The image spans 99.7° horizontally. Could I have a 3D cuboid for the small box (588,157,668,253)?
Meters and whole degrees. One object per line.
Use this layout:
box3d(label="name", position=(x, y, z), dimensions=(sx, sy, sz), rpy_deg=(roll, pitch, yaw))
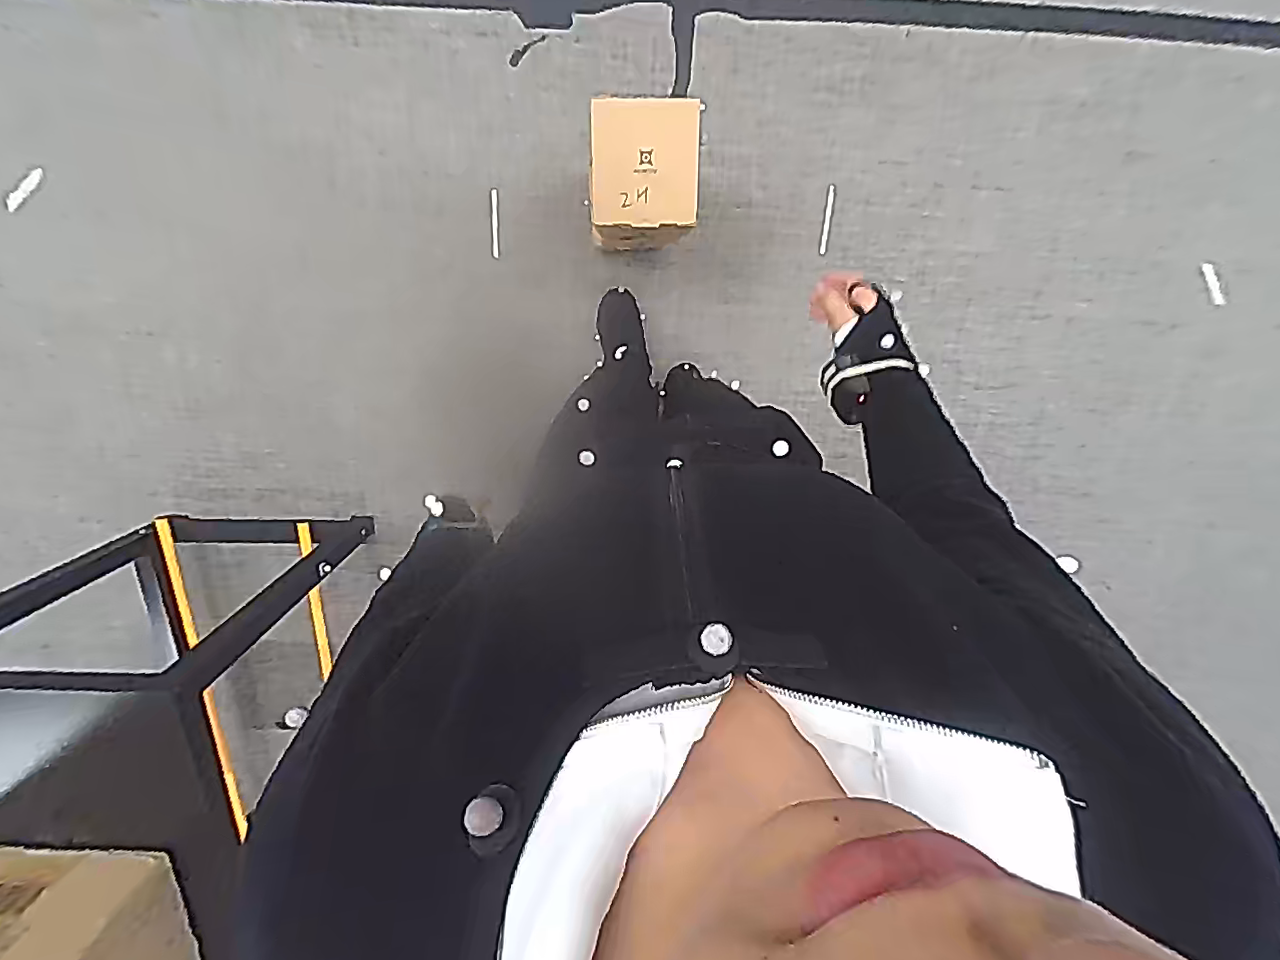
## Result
box3d(label="small box", position=(-0.025, -0.615, 1.216), dimensions=(0.168, 0.176, 0.179), rpy_deg=(-4, 110, 1))

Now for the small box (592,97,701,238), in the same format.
box3d(label="small box", position=(0.007, -0.510, 0.904), dimensions=(0.168, 0.176, 0.179), rpy_deg=(0, 109, 0))

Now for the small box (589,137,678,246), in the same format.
box3d(label="small box", position=(-0.004, -0.561, 1.062), dimensions=(0.168, 0.176, 0.179), rpy_deg=(-5, 109, 1))
